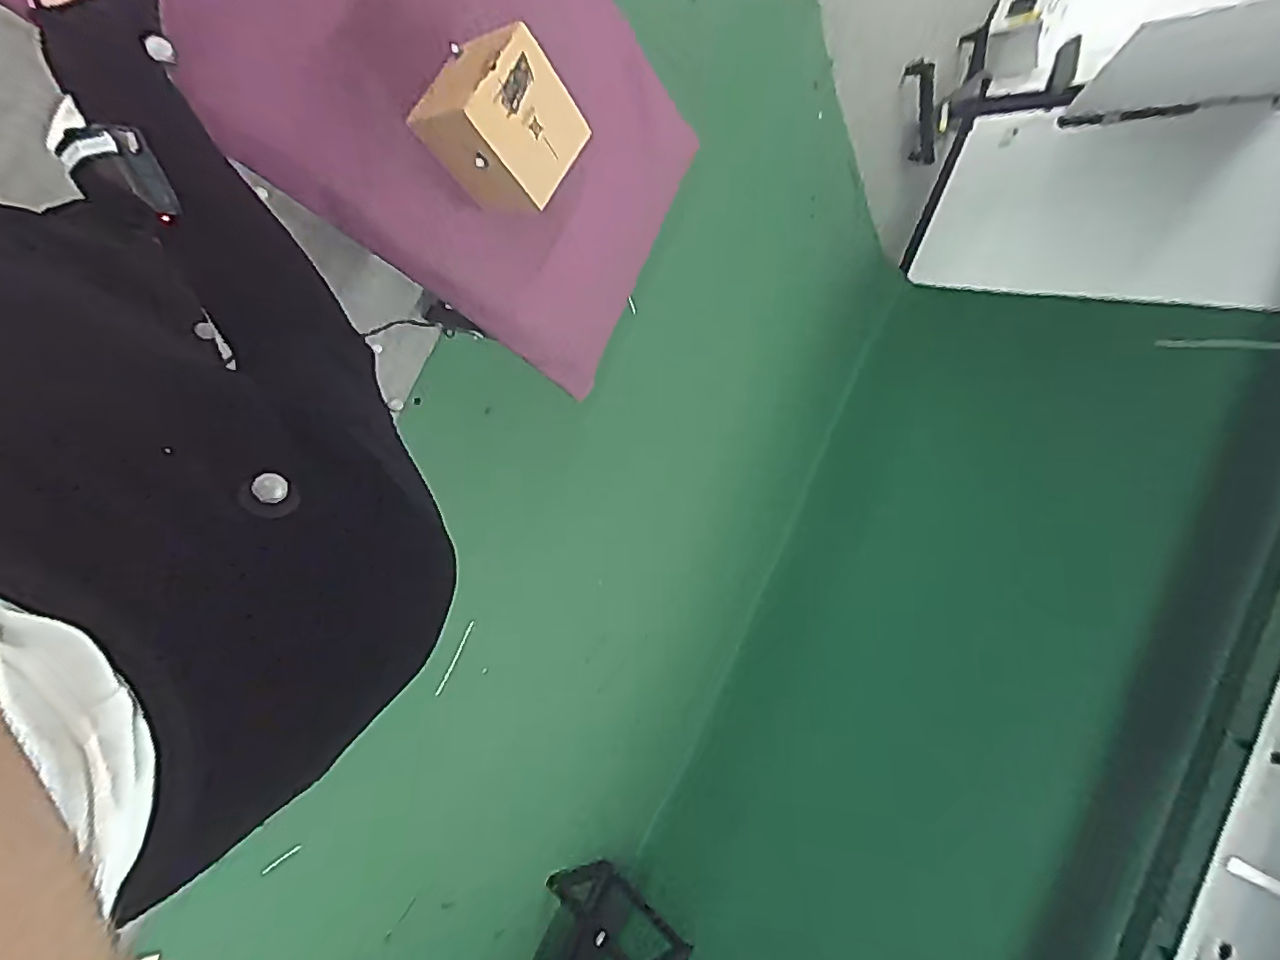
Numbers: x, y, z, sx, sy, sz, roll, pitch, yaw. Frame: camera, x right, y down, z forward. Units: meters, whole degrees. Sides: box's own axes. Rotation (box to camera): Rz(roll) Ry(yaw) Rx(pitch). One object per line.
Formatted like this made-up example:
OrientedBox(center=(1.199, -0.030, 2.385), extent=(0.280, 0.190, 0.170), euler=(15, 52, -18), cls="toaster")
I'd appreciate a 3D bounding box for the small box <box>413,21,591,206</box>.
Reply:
OrientedBox(center=(-0.218, -0.560, 0.852), extent=(0.168, 0.176, 0.179), euler=(-60, 143, -9), cls="small box")
